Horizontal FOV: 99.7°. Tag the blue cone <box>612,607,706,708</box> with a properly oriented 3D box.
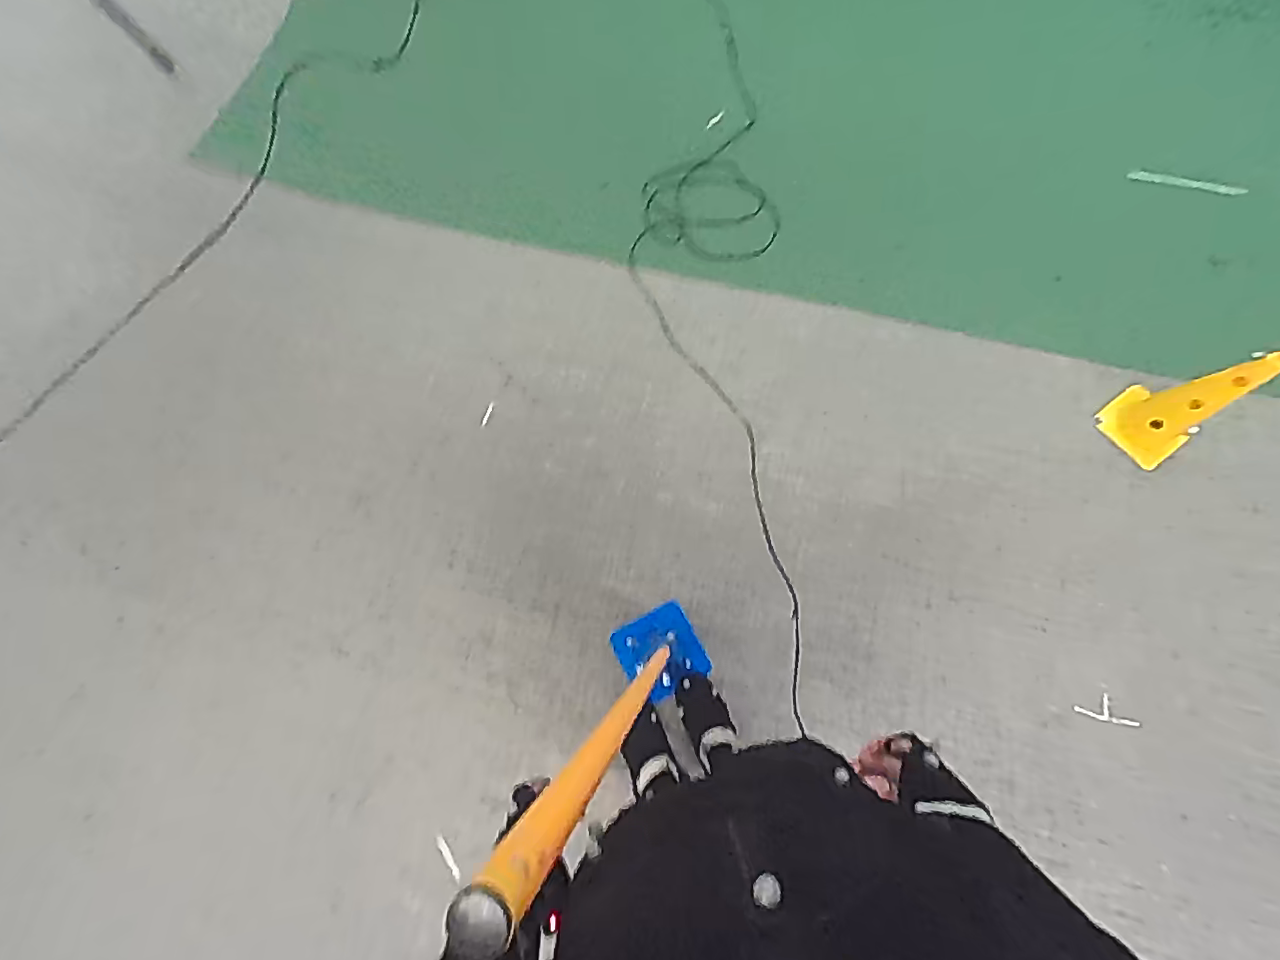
[{"bbox_3d":[0.043,0.384,1.158,0.193,0.380,0.192,-29,74,-7],"label":"blue cone"}]
